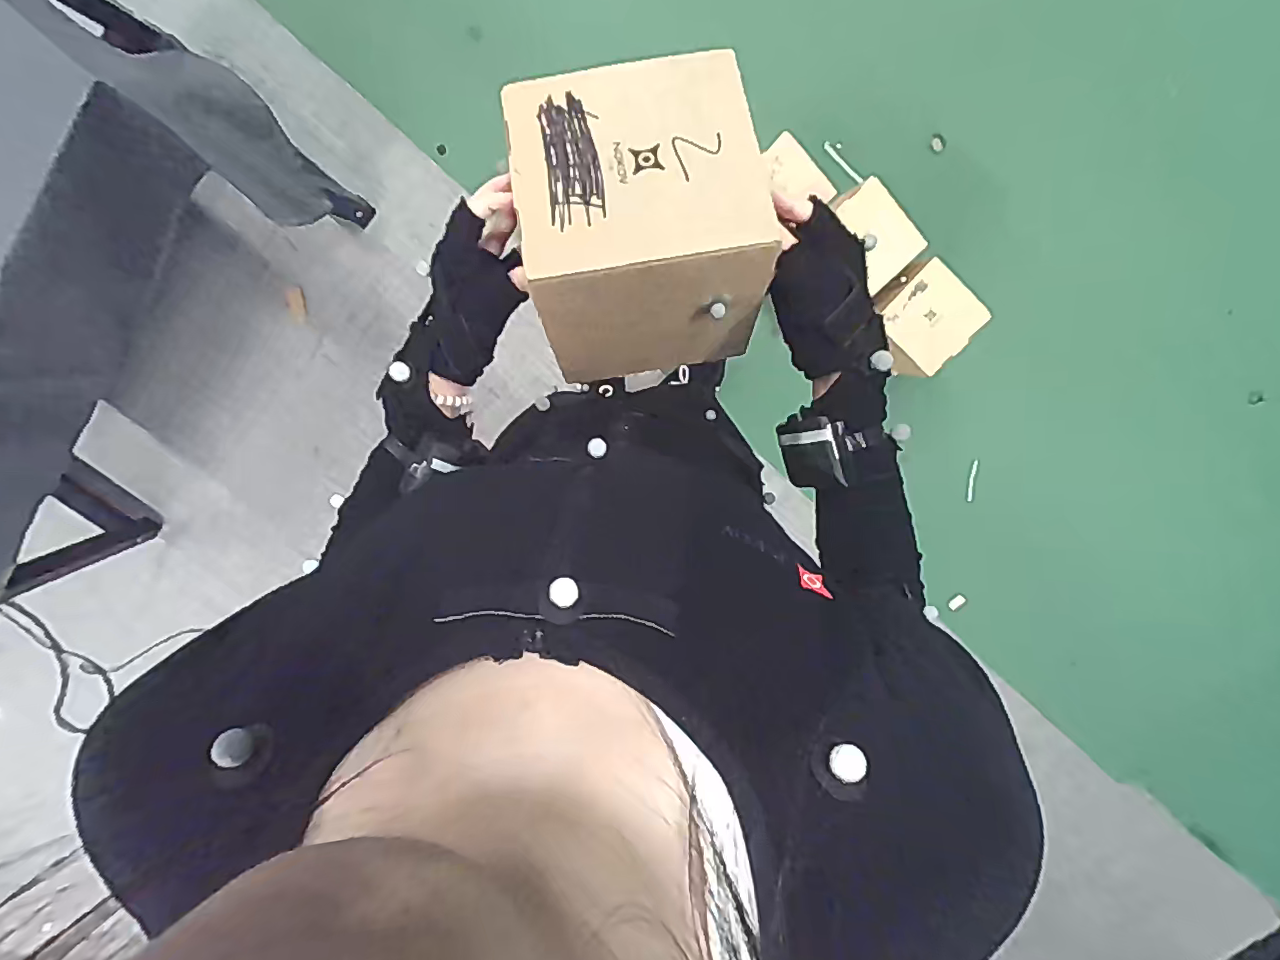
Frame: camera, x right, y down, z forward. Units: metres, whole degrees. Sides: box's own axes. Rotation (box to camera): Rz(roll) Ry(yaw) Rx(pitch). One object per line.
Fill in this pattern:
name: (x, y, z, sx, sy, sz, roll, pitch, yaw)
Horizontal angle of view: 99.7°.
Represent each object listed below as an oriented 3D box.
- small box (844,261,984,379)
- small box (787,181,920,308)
small box: (0.582, -0.345, 1.171, 0.179, 0.176, 0.168, 40, 101, -11)
small box: (0.438, -0.482, 1.137, 0.168, 0.176, 0.179, -42, 100, 11)
